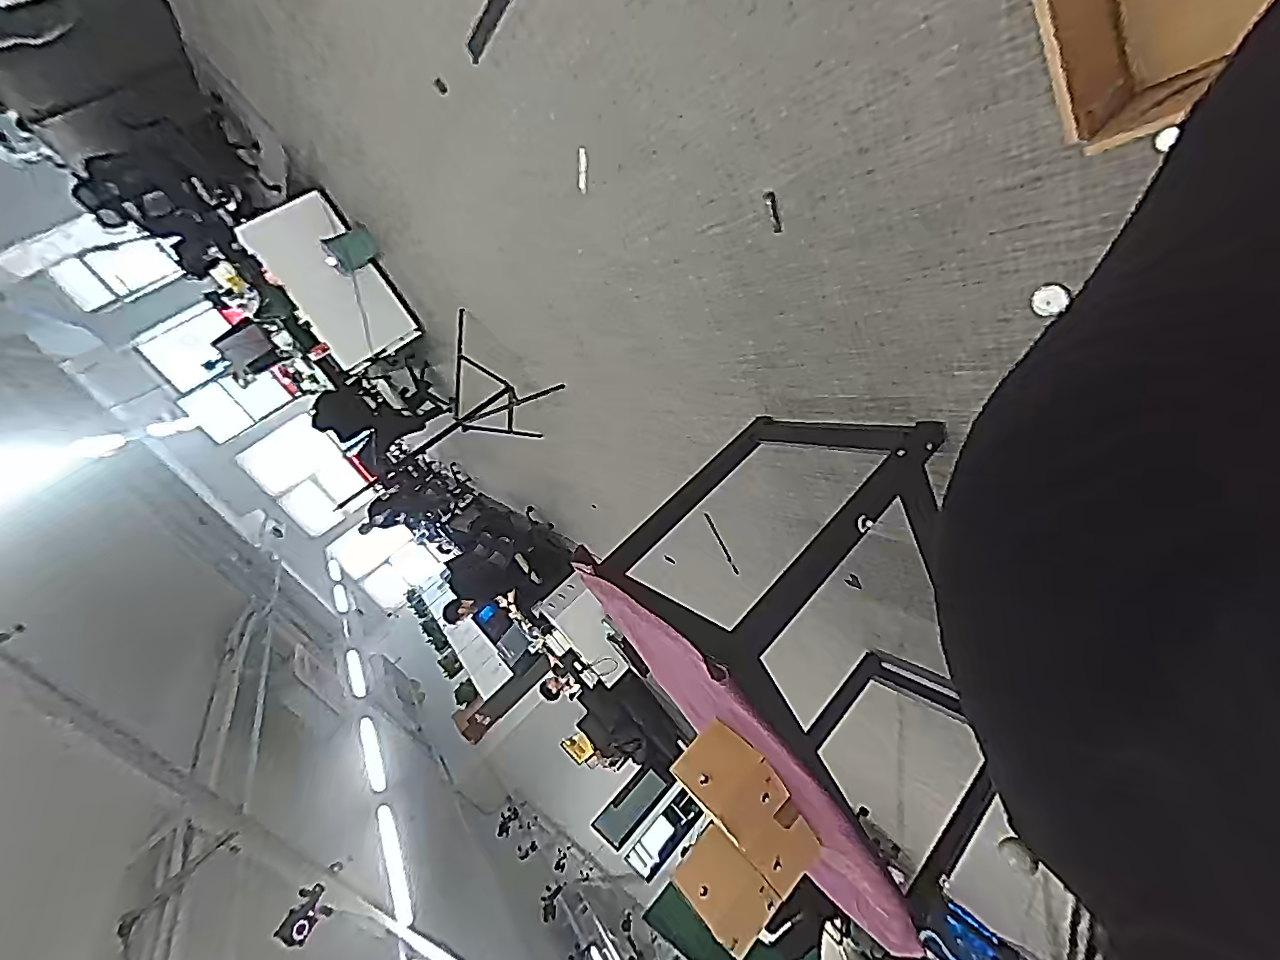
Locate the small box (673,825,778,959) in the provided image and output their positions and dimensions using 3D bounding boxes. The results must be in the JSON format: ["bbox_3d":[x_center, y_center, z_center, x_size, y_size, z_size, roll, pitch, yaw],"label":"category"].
[{"bbox_3d":[0.221,1.021,1.354,0.179,0.176,0.168,15,141,58],"label":"small box"}]

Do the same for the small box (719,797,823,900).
[{"bbox_3d":[0.342,0.921,1.404,0.168,0.176,0.179,17,143,57],"label":"small box"}]

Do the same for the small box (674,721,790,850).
[{"bbox_3d":[0.217,0.705,1.272,0.179,0.176,0.168,16,143,57],"label":"small box"}]
